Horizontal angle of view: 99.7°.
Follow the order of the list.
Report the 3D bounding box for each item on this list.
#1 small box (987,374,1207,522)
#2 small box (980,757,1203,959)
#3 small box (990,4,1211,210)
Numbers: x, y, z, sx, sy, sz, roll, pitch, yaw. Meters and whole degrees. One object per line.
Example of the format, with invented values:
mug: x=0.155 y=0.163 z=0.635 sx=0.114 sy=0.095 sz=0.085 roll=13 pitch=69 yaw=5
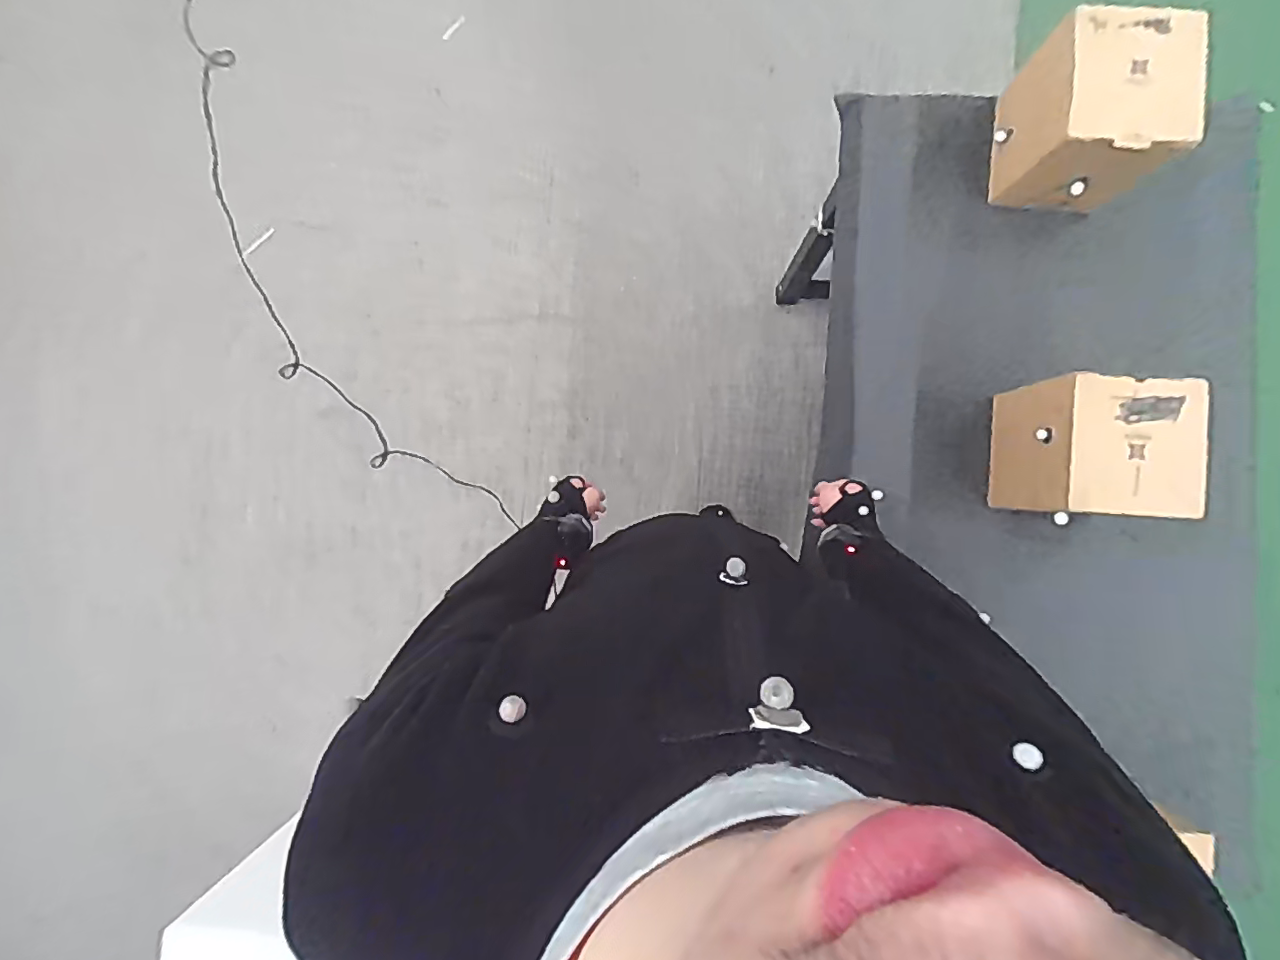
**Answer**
small box: x=0.615 y=-0.039 z=0.749 sx=0.168 sy=0.176 sz=0.179 roll=4 pitch=89 yaw=2
small box: x=0.596 y=0.511 z=0.736 sx=0.168 sy=0.176 sz=0.179 roll=5 pitch=88 yaw=1
small box: x=0.627 y=-0.507 z=0.759 sx=0.168 sy=0.176 sz=0.179 roll=6 pitch=90 yaw=2
